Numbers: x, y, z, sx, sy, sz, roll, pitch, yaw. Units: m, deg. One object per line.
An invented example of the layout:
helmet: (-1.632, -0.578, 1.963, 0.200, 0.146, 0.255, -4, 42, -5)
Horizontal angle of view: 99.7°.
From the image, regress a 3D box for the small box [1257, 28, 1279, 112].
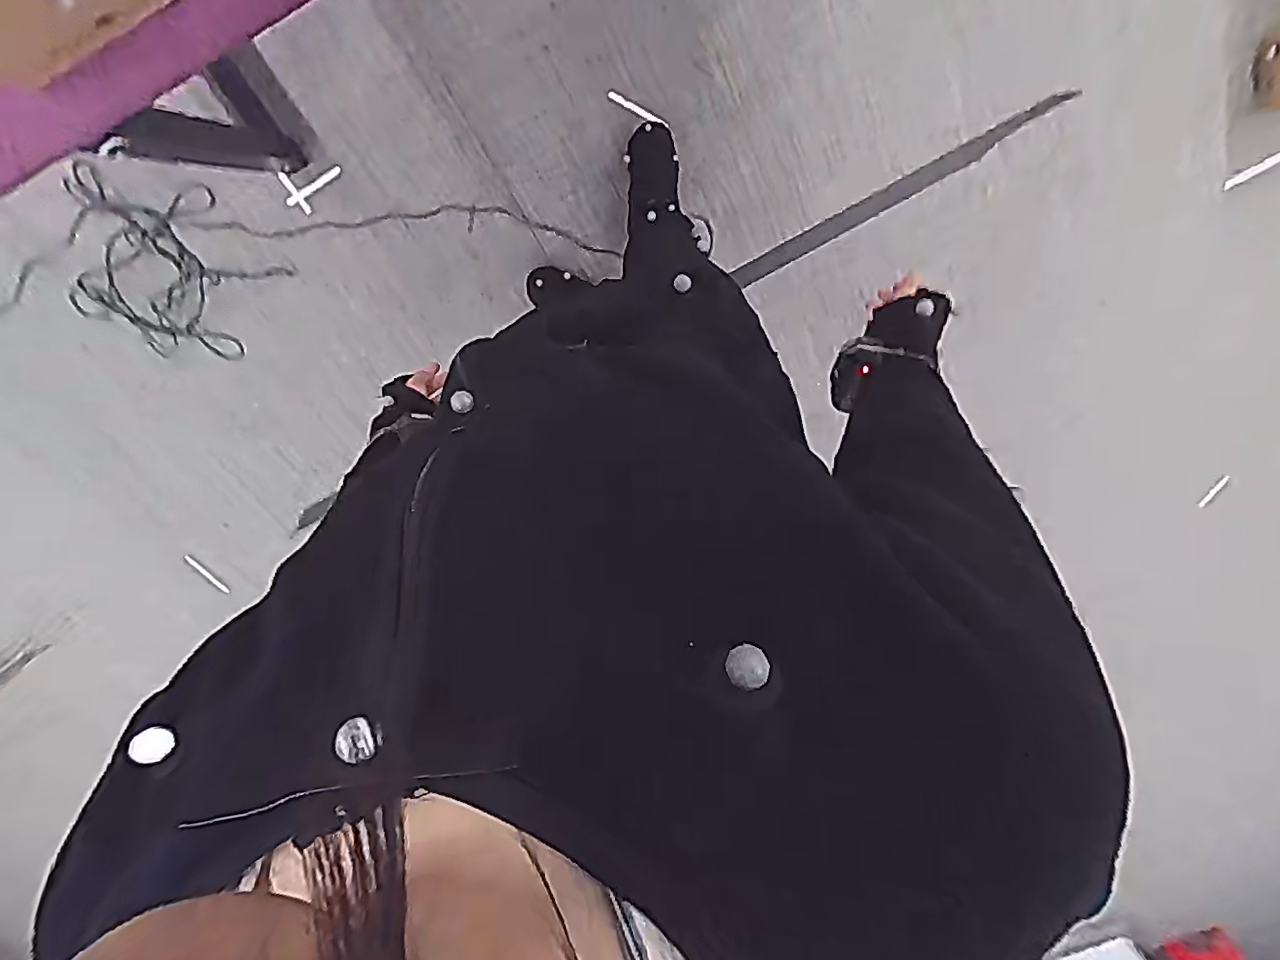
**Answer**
small box: (1.514, -0.935, 1.172, 0.179, 0.176, 0.168, -29, 118, 7)
